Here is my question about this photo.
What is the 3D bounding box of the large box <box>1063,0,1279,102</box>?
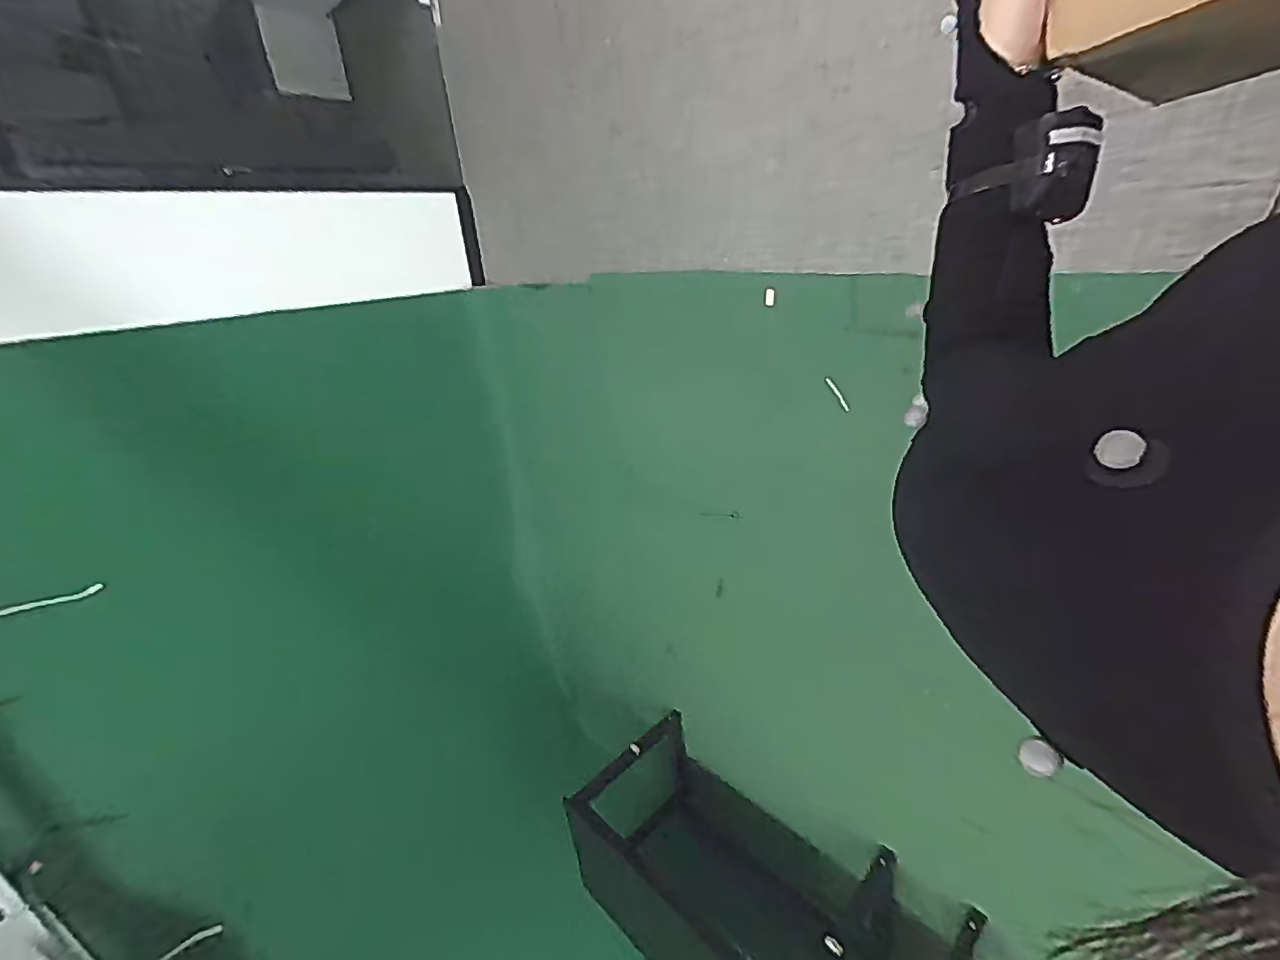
[{"bbox_3d":[0.499,-0.464,0.270,0.408,0.320,0.320,9,114,50],"label":"large box"}]
